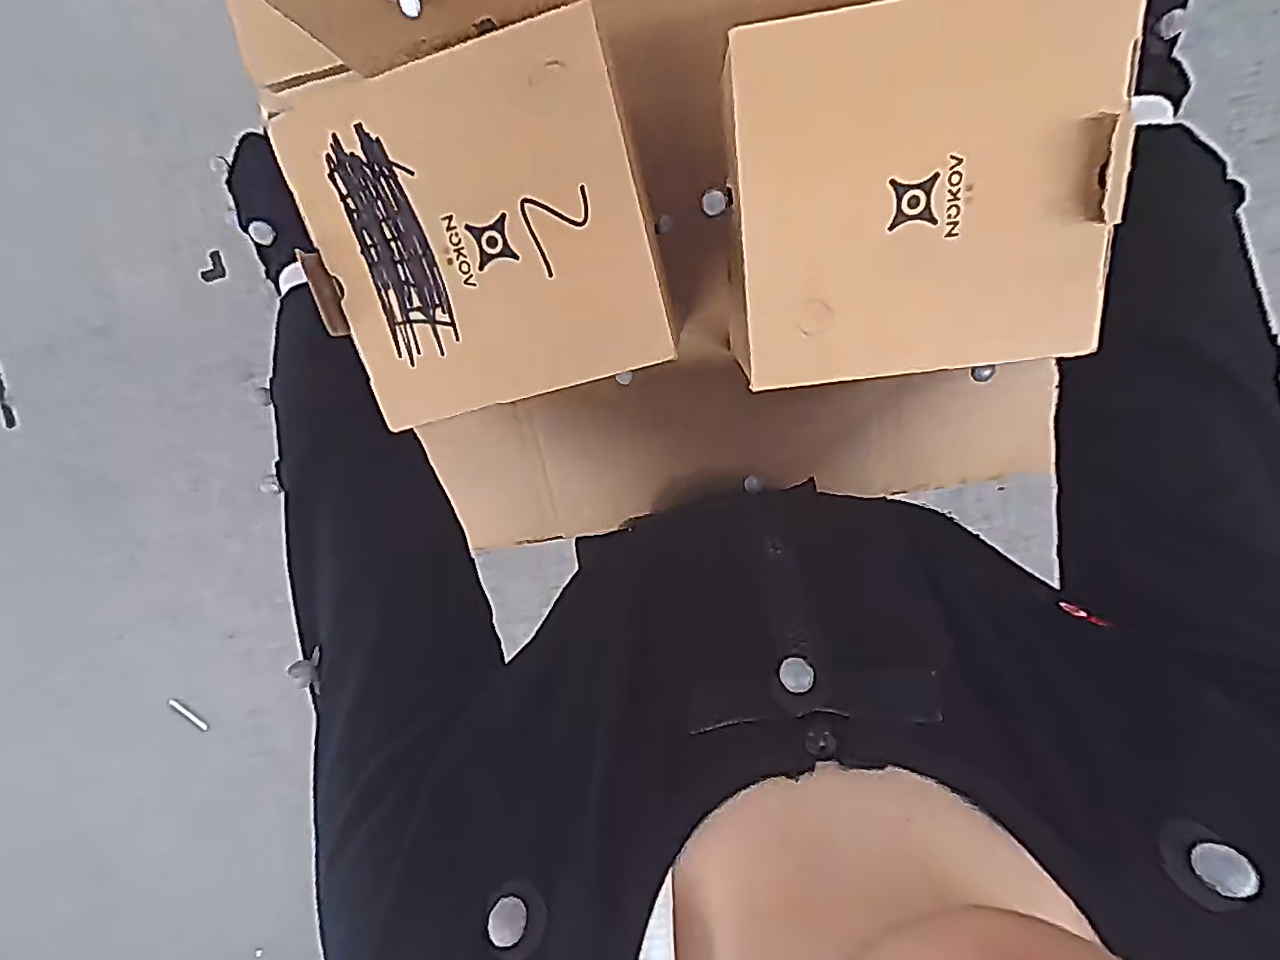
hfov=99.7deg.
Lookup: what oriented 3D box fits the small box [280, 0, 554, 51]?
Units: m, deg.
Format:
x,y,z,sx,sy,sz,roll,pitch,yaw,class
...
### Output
x,y,z,sx,sy,sz,roll,pitch,yaw,class
-0.155,-0.379,0.297,0.168,0.176,0.179,-10,105,8,small box
